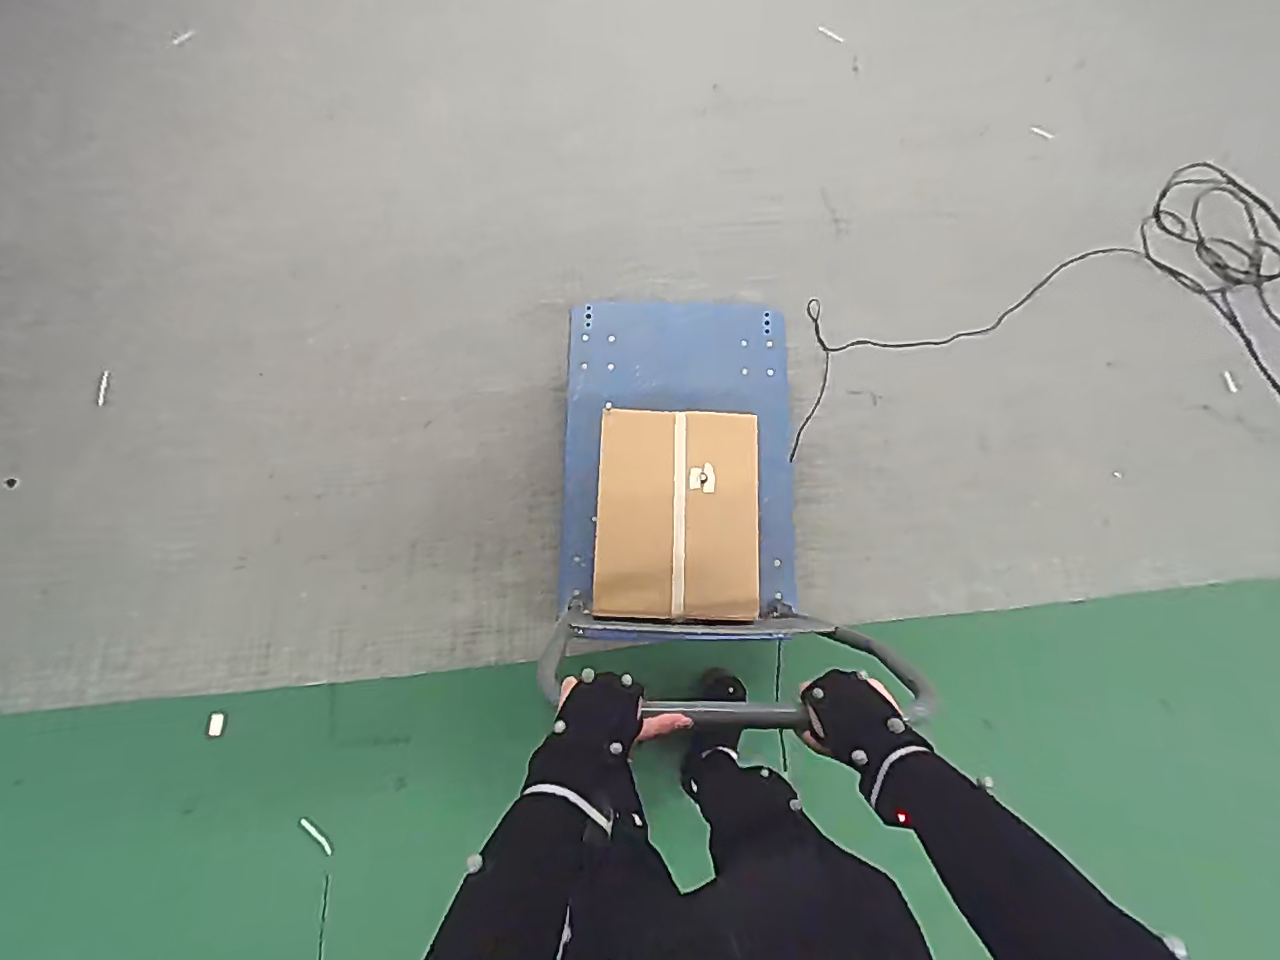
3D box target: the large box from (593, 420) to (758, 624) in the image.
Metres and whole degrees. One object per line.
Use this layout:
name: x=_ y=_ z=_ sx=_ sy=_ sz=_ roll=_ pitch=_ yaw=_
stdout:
large box: x=0.064 y=0.109 z=1.196 sx=0.320 sy=0.320 sz=0.408 roll=2 pitch=77 yaw=-3
